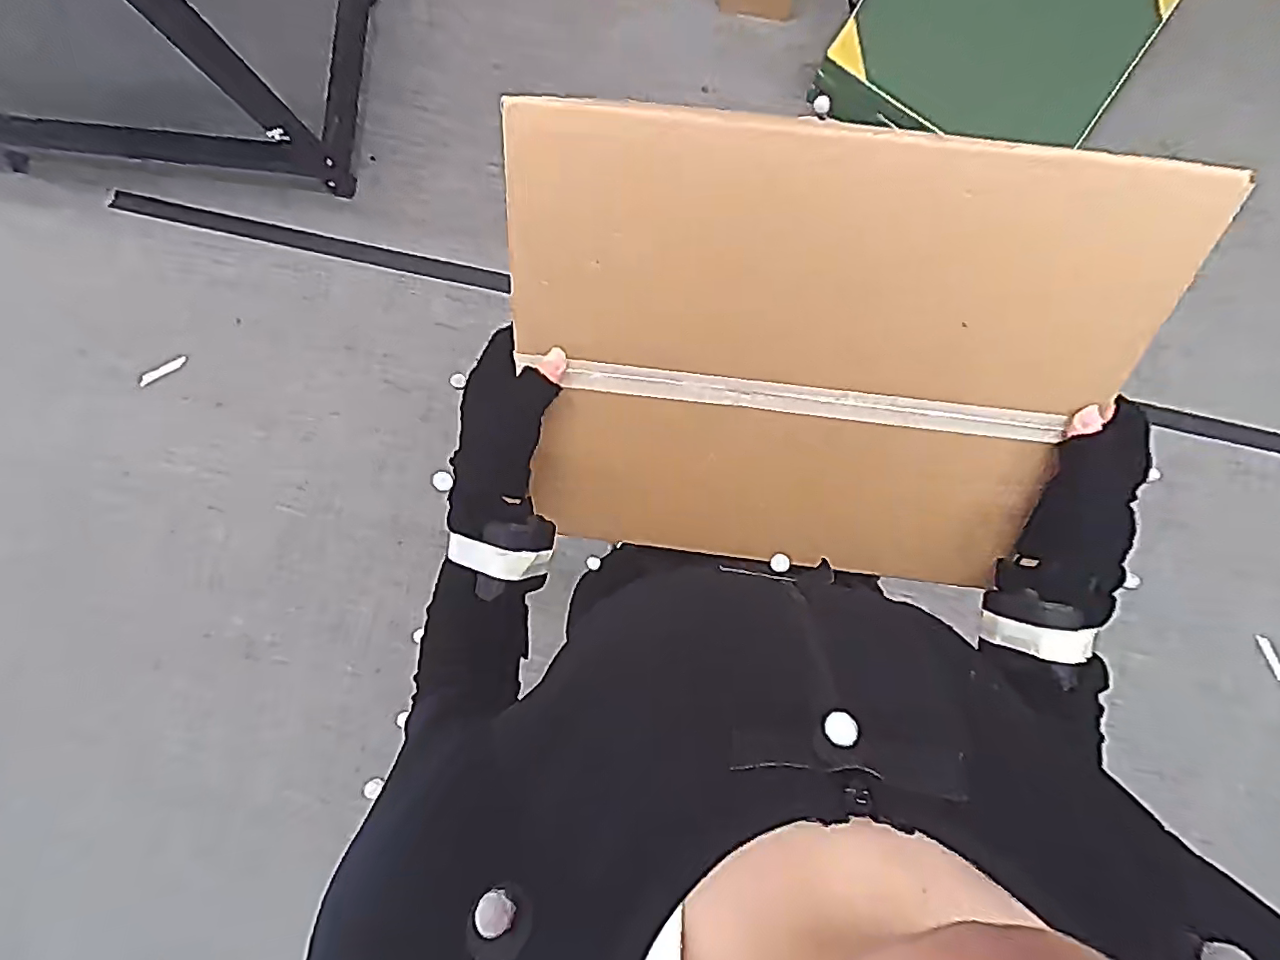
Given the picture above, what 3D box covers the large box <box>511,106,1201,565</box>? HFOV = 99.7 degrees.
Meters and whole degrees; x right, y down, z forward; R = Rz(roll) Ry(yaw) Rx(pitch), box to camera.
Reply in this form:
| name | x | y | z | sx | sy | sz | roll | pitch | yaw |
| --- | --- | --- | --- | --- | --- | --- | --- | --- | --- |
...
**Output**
| name | x | y | z | sx | sy | sz | roll | pitch | yaw |
| --- | --- | --- | --- | --- | --- | --- | --- | --- | --- |
| large box | 0.126 | -0.154 | 0.517 | 0.408 | 0.320 | 0.320 | 7 | 125 | 2 |
